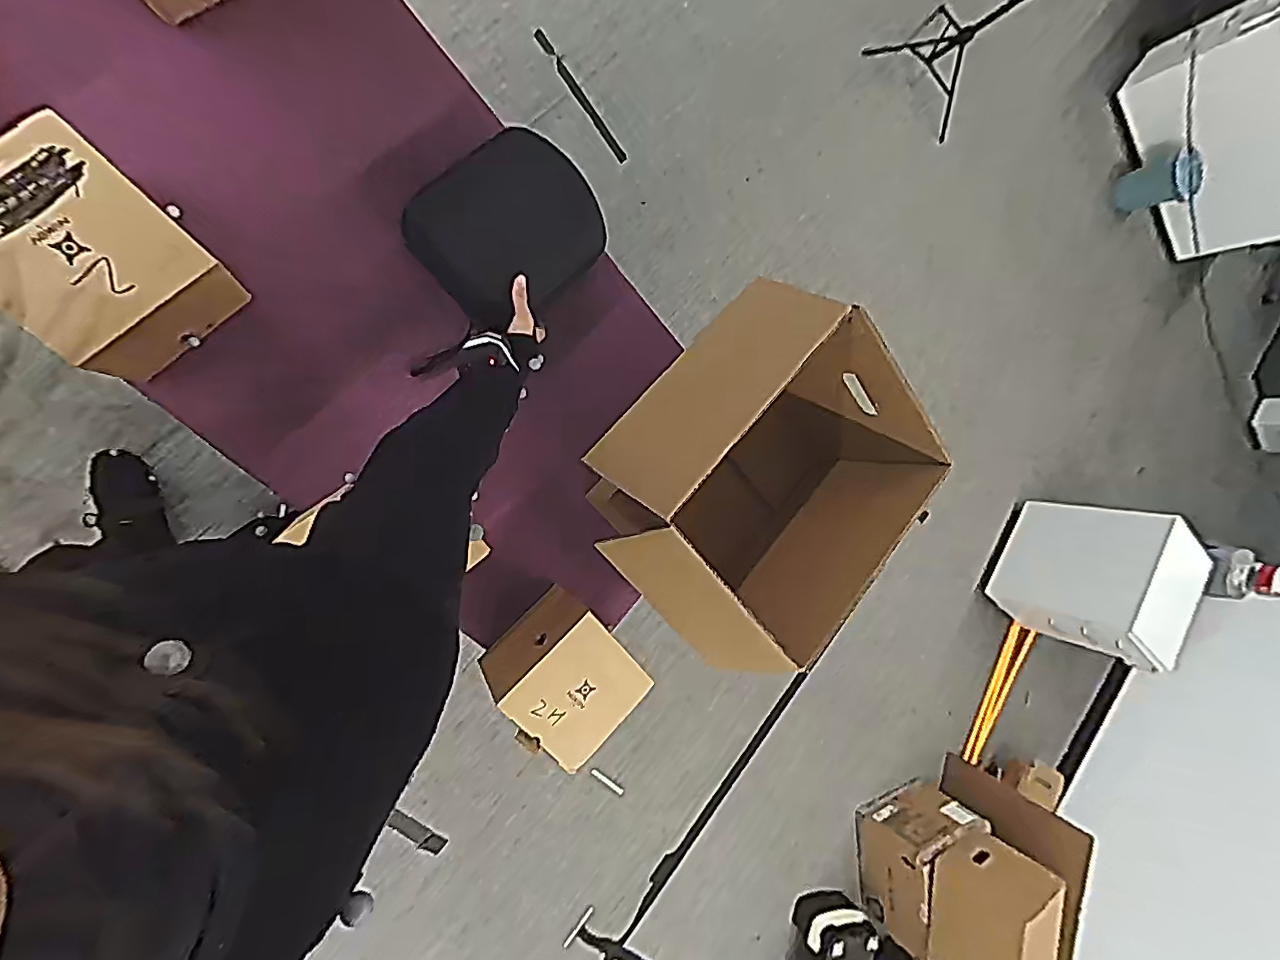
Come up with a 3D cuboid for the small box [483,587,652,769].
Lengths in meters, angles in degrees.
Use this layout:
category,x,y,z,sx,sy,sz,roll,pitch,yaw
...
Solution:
category,x,y,z,sx,sy,sz,roll,pitch,yaw
small box,-0.119,0.292,0.840,0.179,0.176,0.168,-43,109,-16
